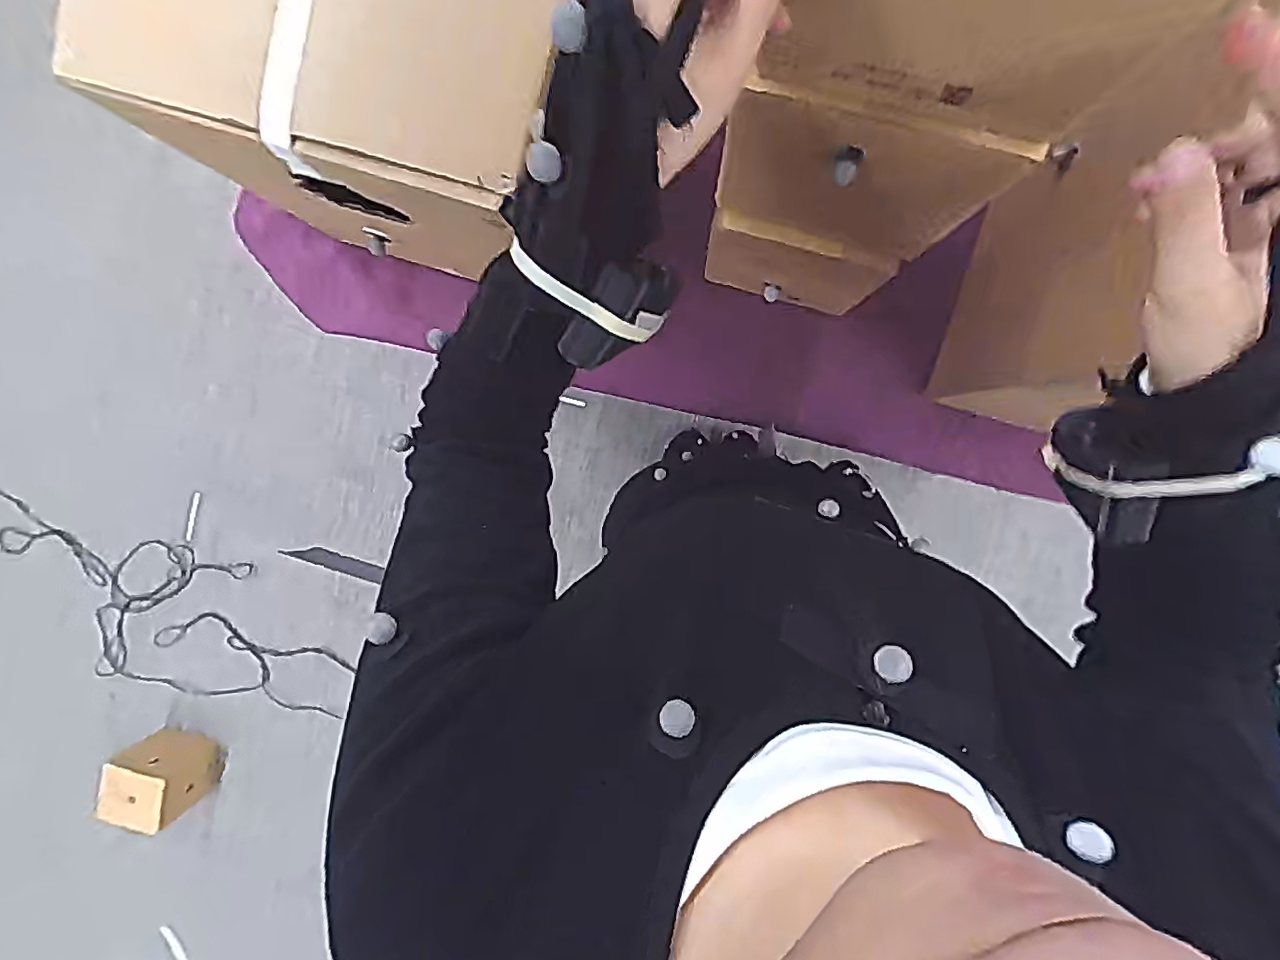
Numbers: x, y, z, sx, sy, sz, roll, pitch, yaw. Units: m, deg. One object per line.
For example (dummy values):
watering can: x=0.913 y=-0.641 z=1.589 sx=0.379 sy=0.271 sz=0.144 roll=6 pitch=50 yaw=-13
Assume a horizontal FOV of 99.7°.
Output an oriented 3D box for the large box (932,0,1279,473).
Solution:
large box: x=0.507 y=-0.228 z=0.443 sx=0.320 sy=0.320 sz=0.408 roll=16 pitch=95 yaw=3

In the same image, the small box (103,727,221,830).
small box: x=-1.315 y=0.817 z=1.499 sx=0.179 sy=0.176 sz=0.168 roll=15 pitch=96 yaw=4
